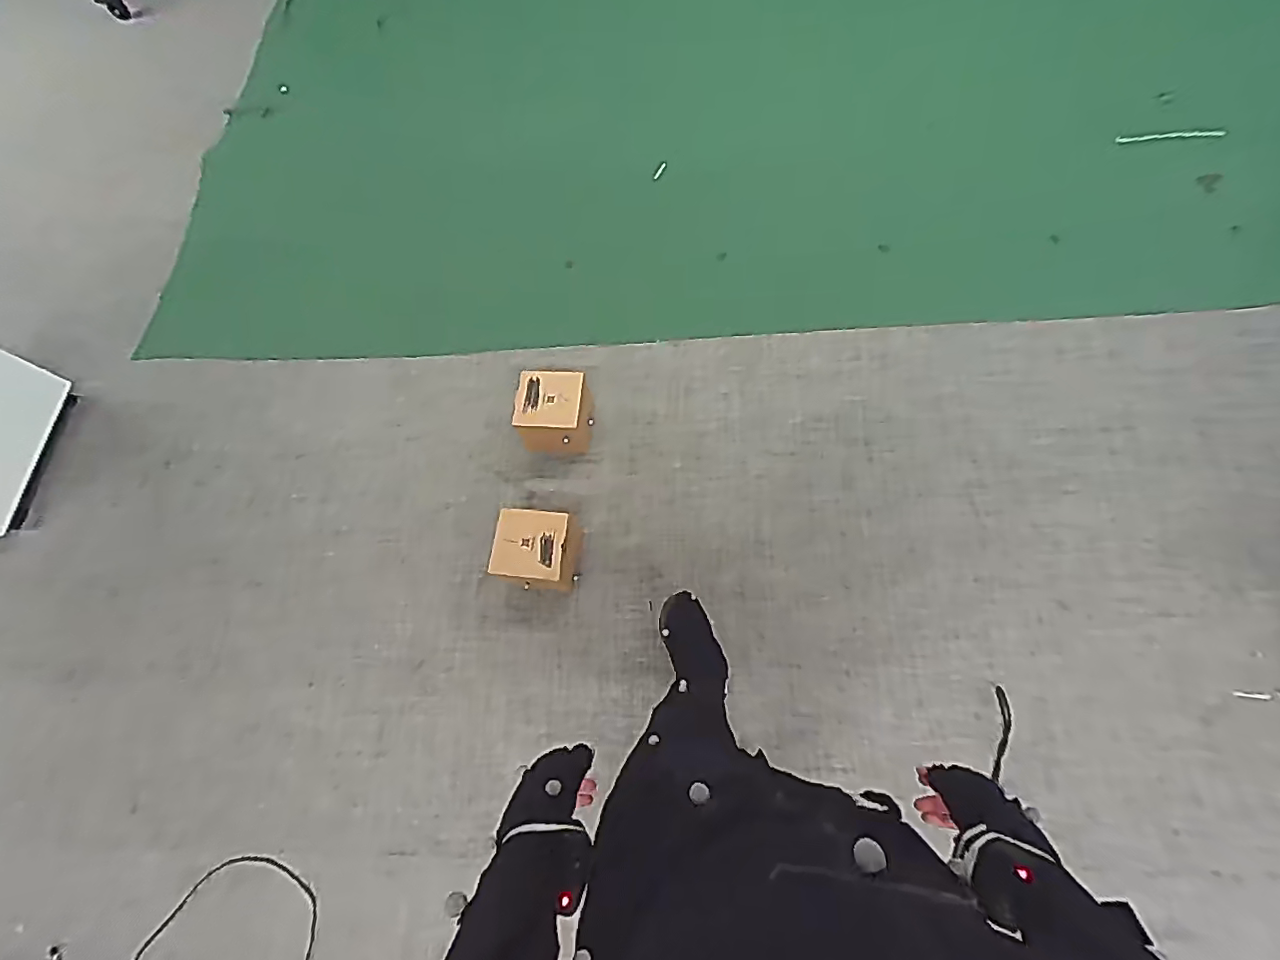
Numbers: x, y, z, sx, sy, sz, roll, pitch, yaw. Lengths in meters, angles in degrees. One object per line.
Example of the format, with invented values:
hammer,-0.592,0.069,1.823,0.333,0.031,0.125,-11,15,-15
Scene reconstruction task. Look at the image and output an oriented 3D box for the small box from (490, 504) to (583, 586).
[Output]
small box,-0.251,0.169,1.362,0.179,0.176,0.168,4,70,8
